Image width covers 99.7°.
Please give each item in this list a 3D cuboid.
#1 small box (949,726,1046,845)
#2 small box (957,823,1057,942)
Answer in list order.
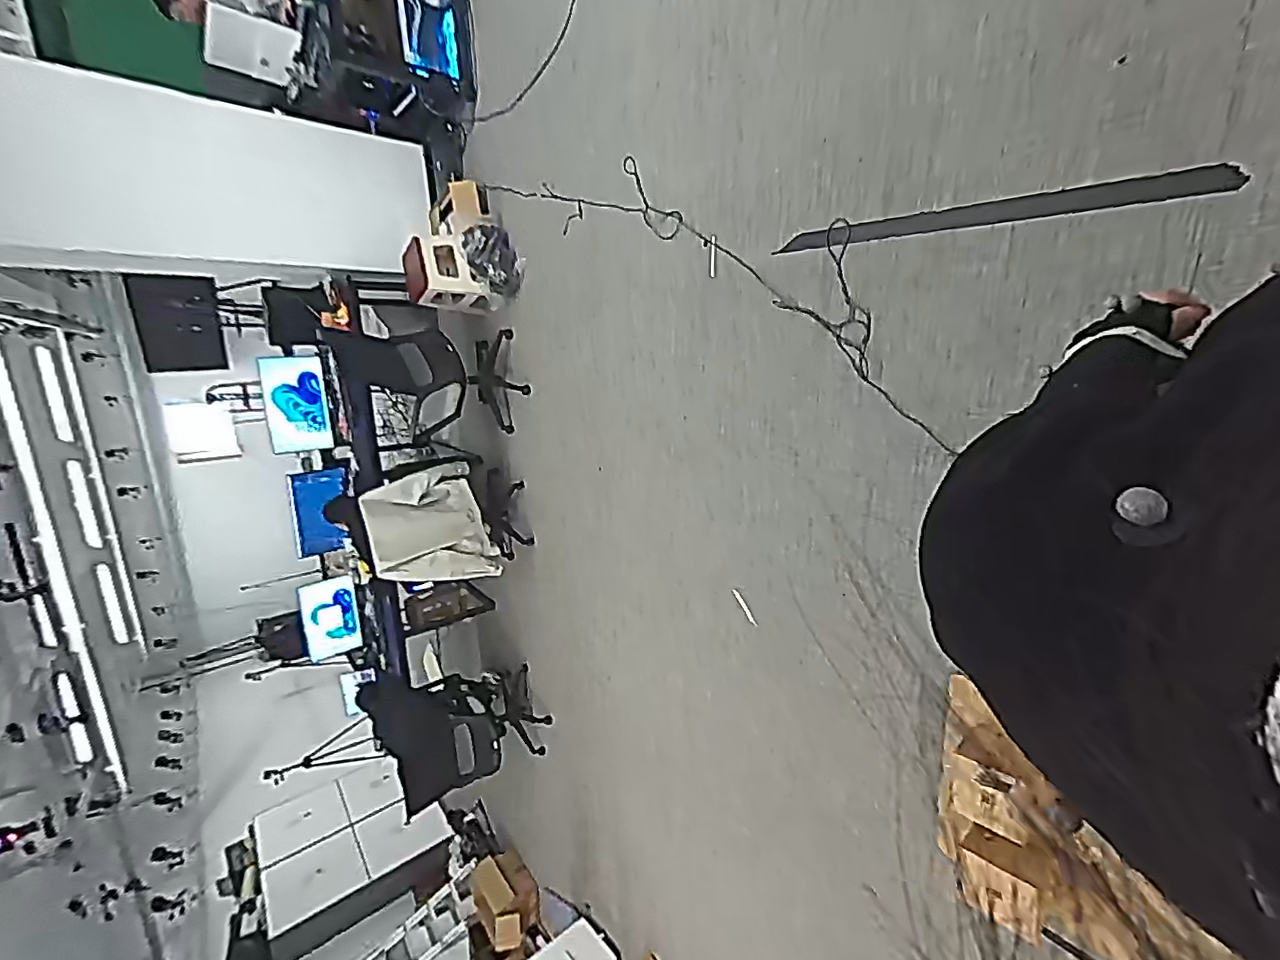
[{"bbox_3d":[0.919,0.770,1.387,0.168,0.176,0.179,8,106,50],"label":"small box"},{"bbox_3d":[0.958,1.026,1.413,0.179,0.176,0.168,6,105,50],"label":"small box"}]
